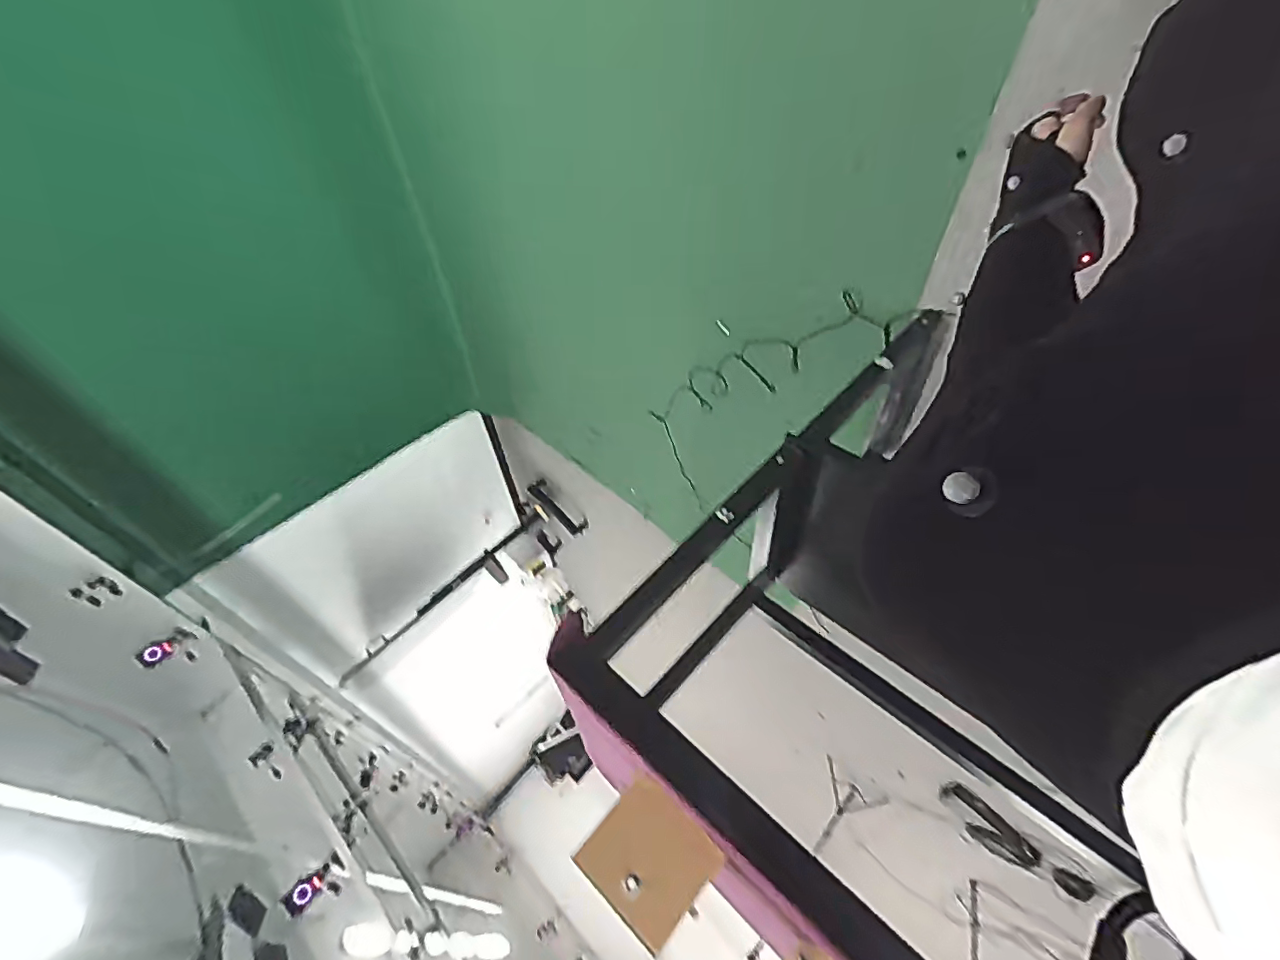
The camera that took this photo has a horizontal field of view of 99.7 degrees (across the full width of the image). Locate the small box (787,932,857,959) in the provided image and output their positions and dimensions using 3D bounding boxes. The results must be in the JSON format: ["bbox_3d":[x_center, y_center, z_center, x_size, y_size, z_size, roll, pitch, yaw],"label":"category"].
[{"bbox_3d":[0.263,0.743,0.709,0.179,0.176,0.168,35,151,25],"label":"small box"}]

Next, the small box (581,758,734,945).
[{"bbox_3d":[0.030,0.591,0.875,0.179,0.176,0.168,36,151,25],"label":"small box"}]
